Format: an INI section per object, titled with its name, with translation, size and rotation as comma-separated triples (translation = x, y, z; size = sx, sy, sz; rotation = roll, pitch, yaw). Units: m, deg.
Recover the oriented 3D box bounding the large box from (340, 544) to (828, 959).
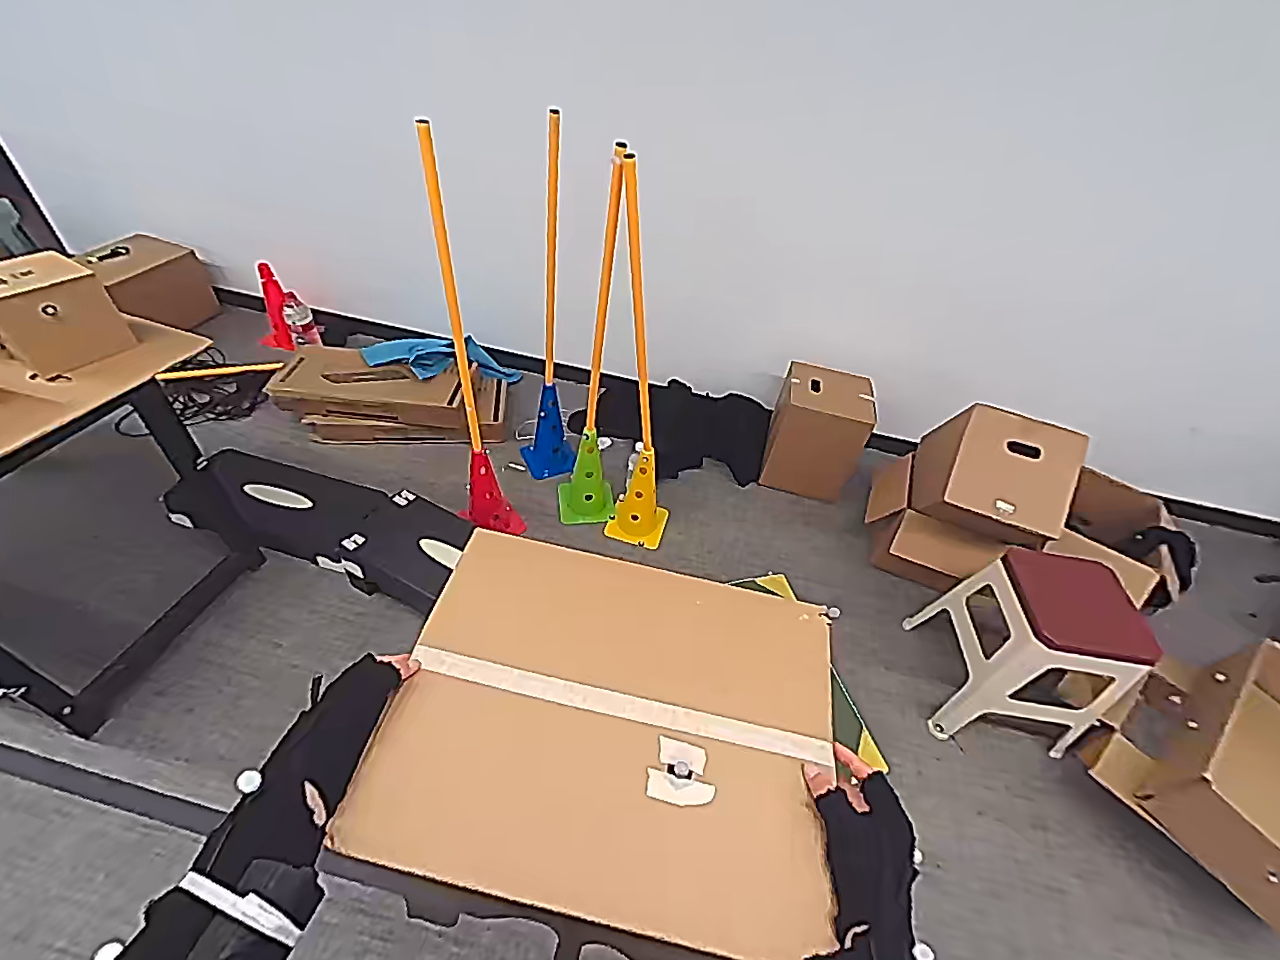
[large box]
translation = -0.039, 0.321, 0.631
size = 0.408, 0.320, 0.320
rotation = 13, 49, 3
